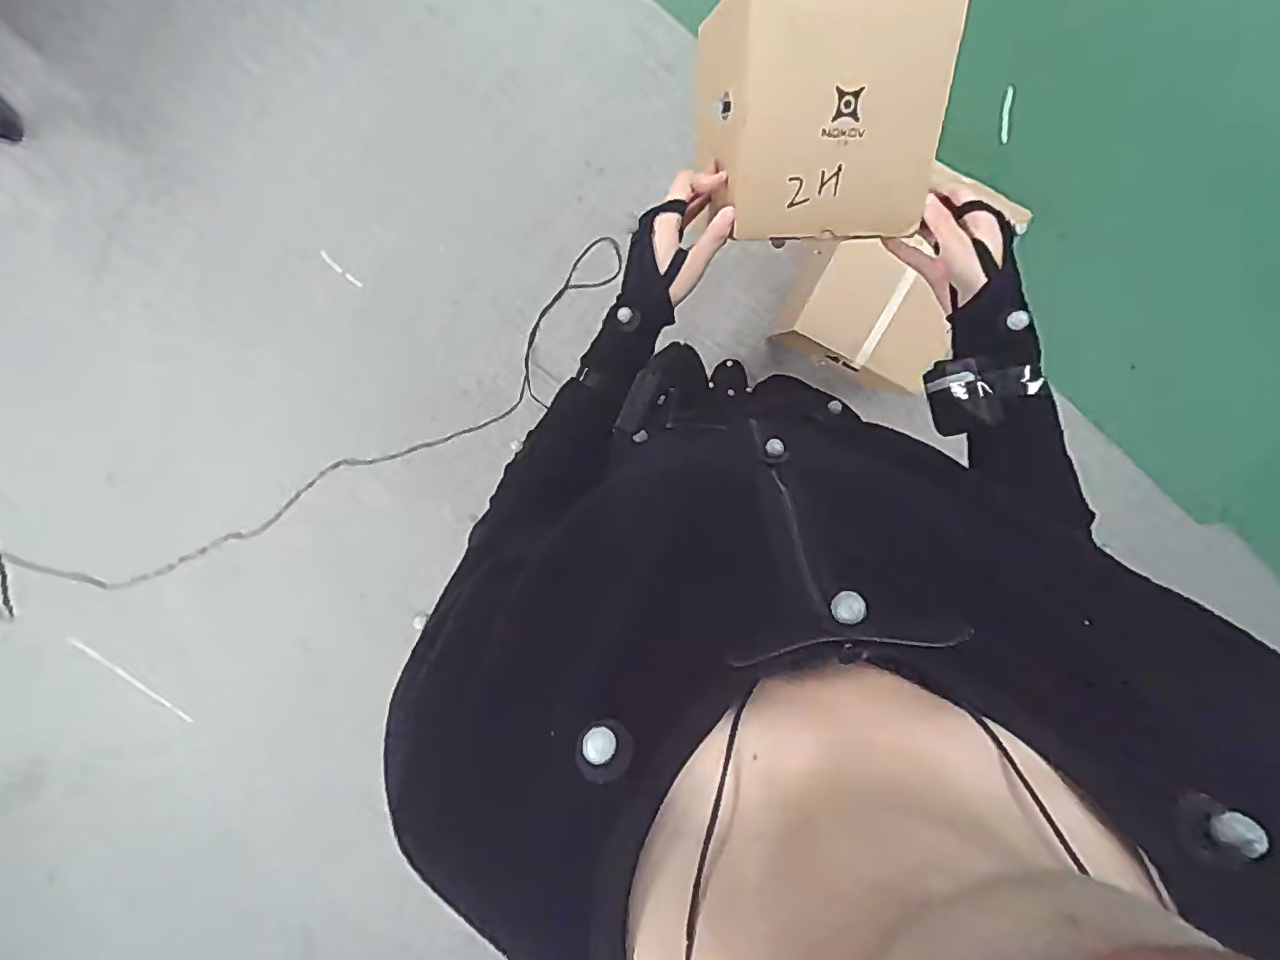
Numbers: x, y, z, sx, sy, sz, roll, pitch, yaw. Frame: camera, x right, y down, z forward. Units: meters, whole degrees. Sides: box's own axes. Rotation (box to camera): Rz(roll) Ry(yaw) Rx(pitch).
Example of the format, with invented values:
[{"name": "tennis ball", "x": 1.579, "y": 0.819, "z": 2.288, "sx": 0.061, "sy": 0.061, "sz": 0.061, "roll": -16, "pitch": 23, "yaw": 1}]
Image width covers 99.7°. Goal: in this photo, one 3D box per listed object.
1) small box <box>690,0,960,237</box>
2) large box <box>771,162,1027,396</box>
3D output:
[{"name": "small box", "x": 0.143, "y": -0.320, "z": 0.487, "sx": 0.168, "sy": 0.176, "sz": 0.179, "roll": -4, "pitch": 119, "yaw": -6}, {"name": "large box", "x": 0.551, "y": -0.440, "z": 1.243, "sx": 0.320, "sy": 0.320, "sz": 0.408, "roll": 27, "pitch": 101, "yaw": -3}]
